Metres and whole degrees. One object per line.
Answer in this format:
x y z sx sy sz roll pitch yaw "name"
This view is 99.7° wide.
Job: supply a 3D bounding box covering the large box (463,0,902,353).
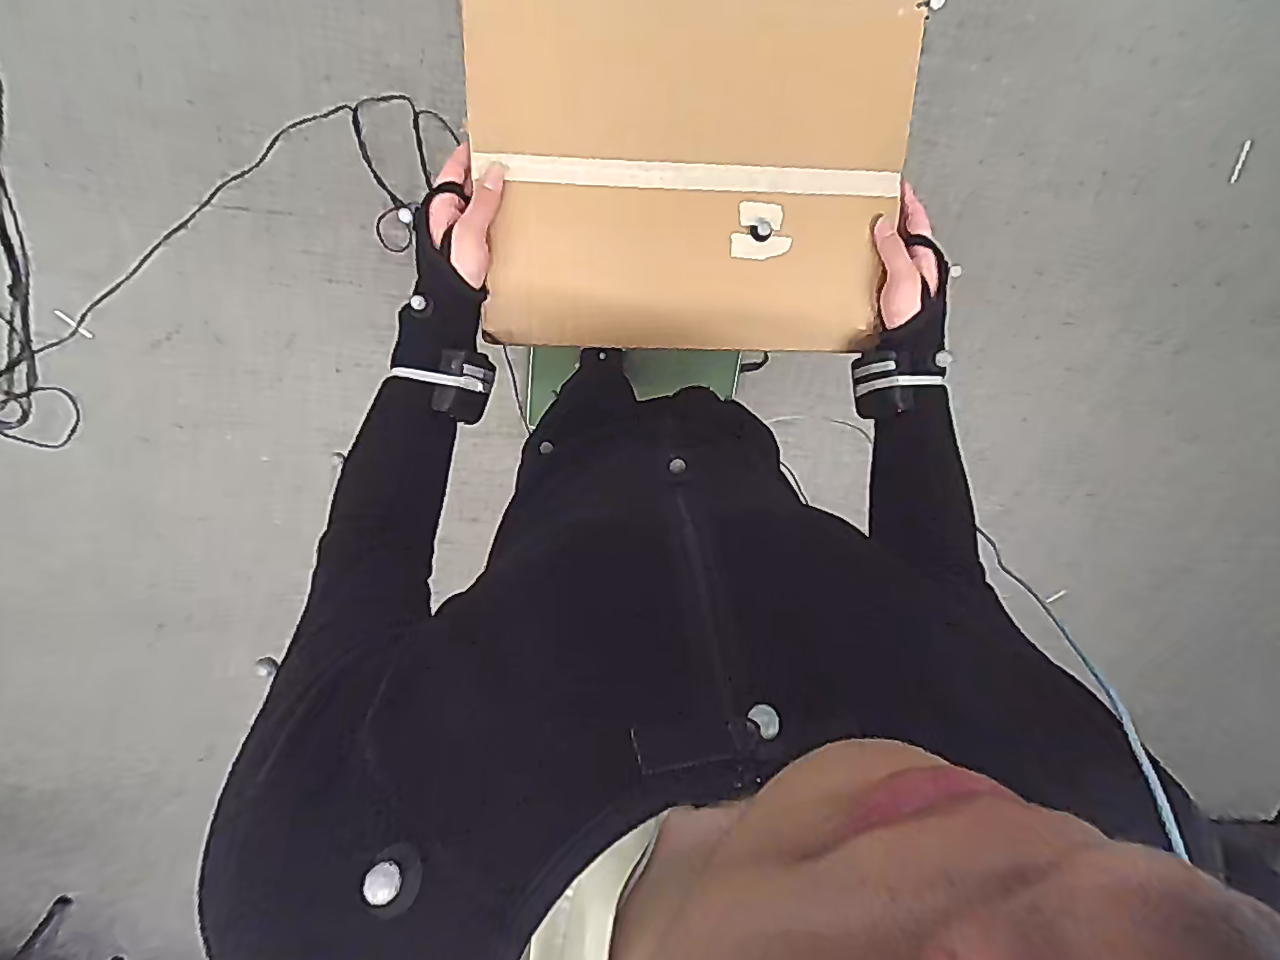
0.029 -0.325 0.662 0.408 0.320 0.320 0 108 -6 "large box"
